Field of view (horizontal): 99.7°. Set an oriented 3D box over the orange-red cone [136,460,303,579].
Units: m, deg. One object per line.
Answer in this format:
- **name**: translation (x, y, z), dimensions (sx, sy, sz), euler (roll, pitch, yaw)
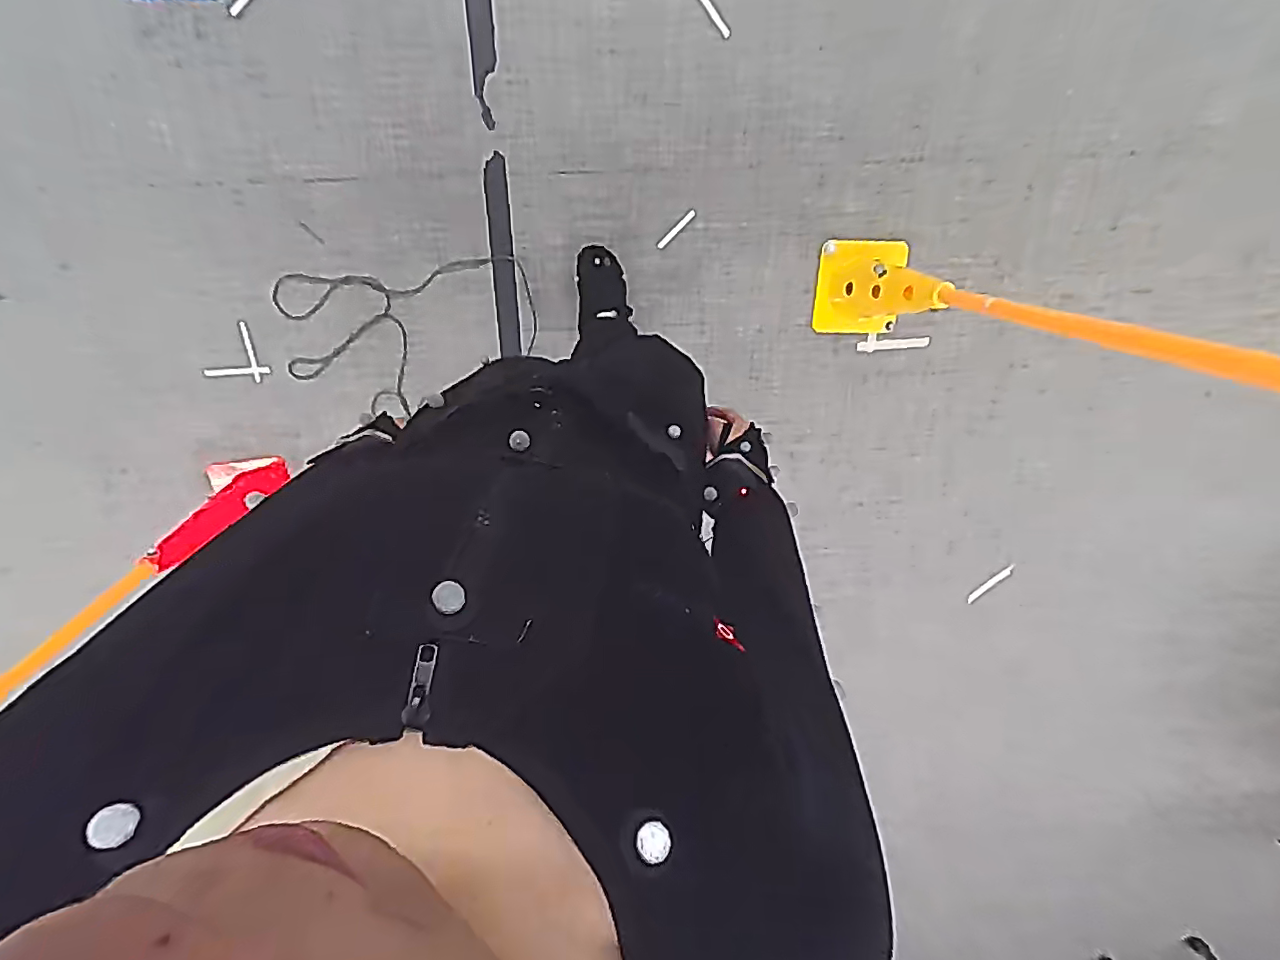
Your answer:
- **orange-red cone**: translation (-0.966, 0.110, 1.211), dimensions (0.199, 0.360, 0.198), euler (-7, 112, -1)
